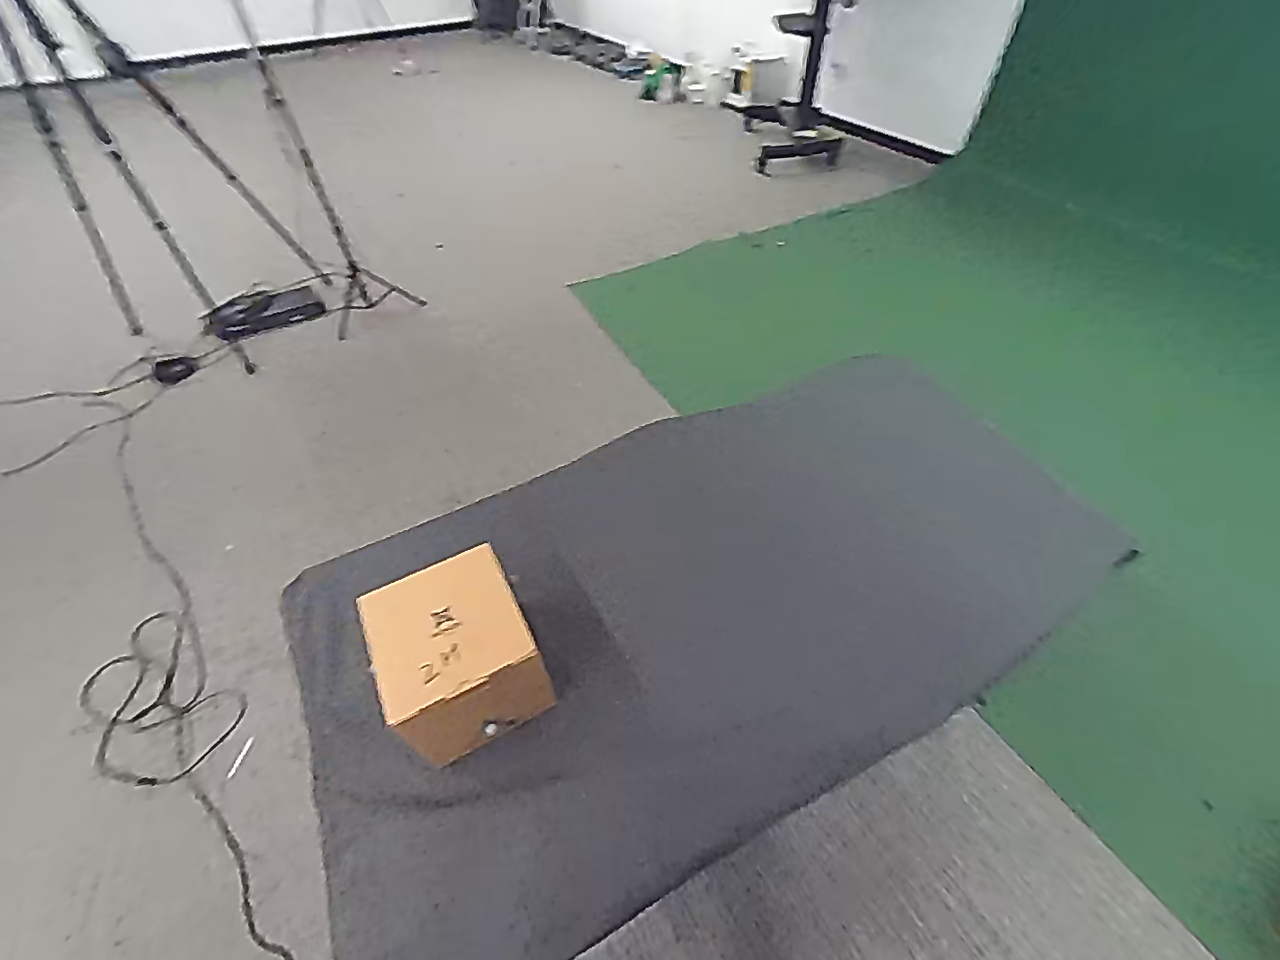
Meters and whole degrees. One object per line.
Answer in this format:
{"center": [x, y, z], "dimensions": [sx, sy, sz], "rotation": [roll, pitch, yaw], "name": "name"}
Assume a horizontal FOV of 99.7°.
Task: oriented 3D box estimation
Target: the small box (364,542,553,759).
{"center": [-0.226, 0.218, 0.693], "dimensions": [0.168, 0.176, 0.179], "rotation": [-23, 52, -18], "name": "small box"}
